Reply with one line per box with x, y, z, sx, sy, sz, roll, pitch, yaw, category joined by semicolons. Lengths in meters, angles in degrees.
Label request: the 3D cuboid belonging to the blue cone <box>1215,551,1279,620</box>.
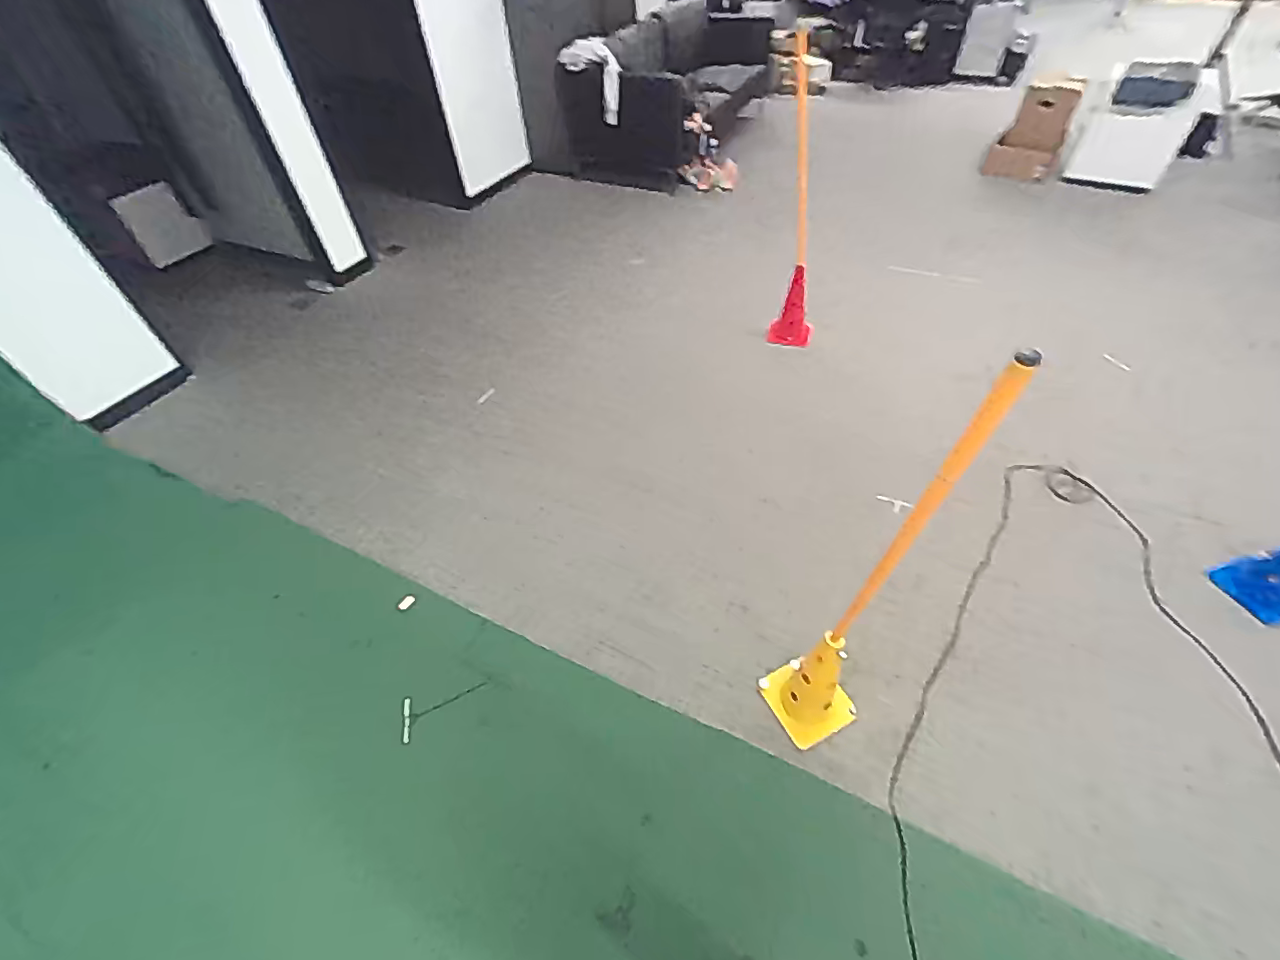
1.849;0.200;1.491;0.193;0.380;0.192;-14;47;-13;blue cone
